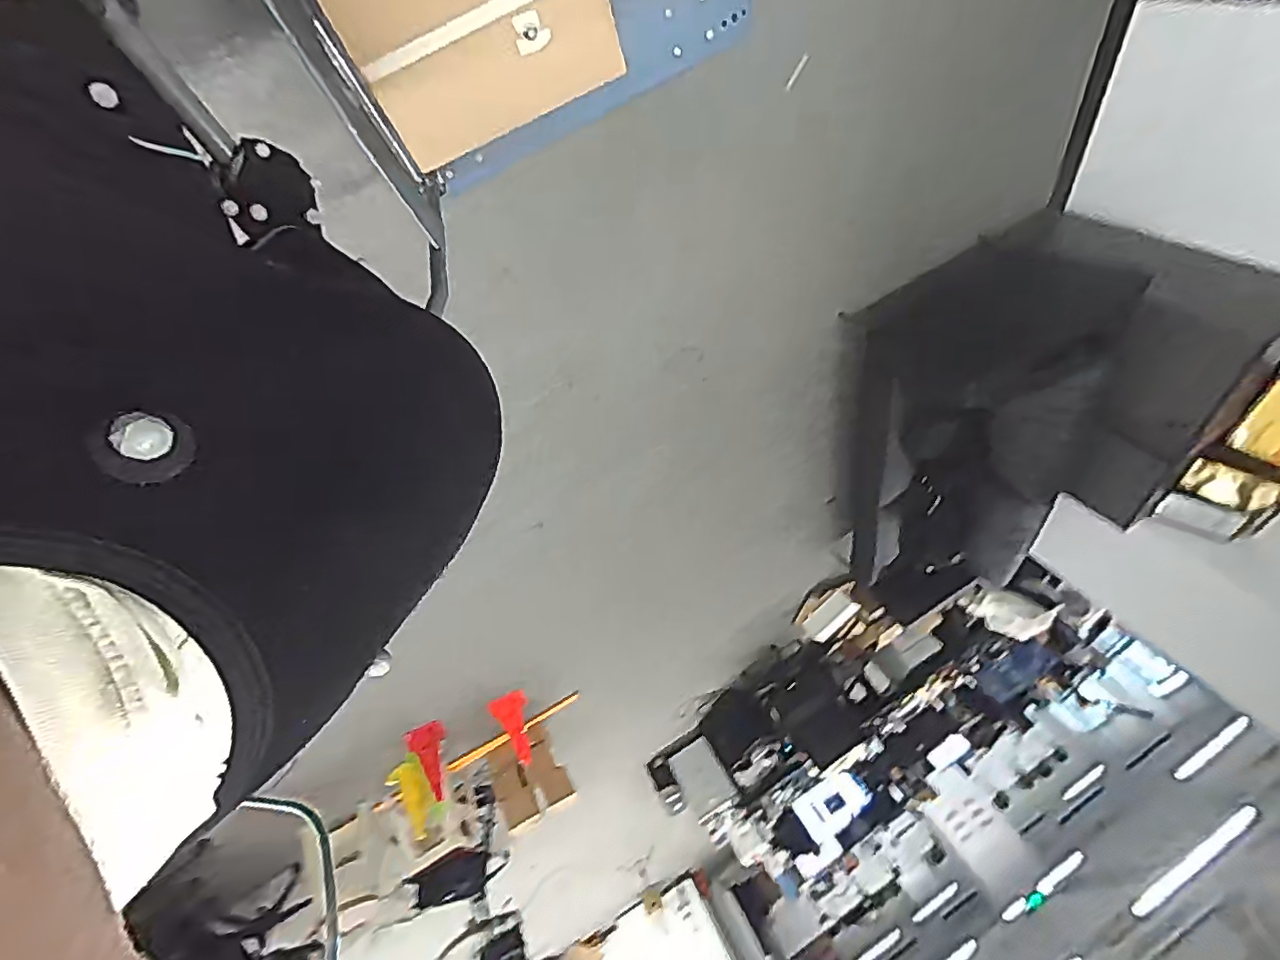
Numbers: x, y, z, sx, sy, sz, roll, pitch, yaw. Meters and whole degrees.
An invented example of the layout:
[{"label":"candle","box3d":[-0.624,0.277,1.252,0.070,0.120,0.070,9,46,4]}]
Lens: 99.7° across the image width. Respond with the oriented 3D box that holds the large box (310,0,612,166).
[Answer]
[{"label":"large box","box3d":[-0.318,-0.826,0.930,0.408,0.320,0.320,-26,140,0]}]
